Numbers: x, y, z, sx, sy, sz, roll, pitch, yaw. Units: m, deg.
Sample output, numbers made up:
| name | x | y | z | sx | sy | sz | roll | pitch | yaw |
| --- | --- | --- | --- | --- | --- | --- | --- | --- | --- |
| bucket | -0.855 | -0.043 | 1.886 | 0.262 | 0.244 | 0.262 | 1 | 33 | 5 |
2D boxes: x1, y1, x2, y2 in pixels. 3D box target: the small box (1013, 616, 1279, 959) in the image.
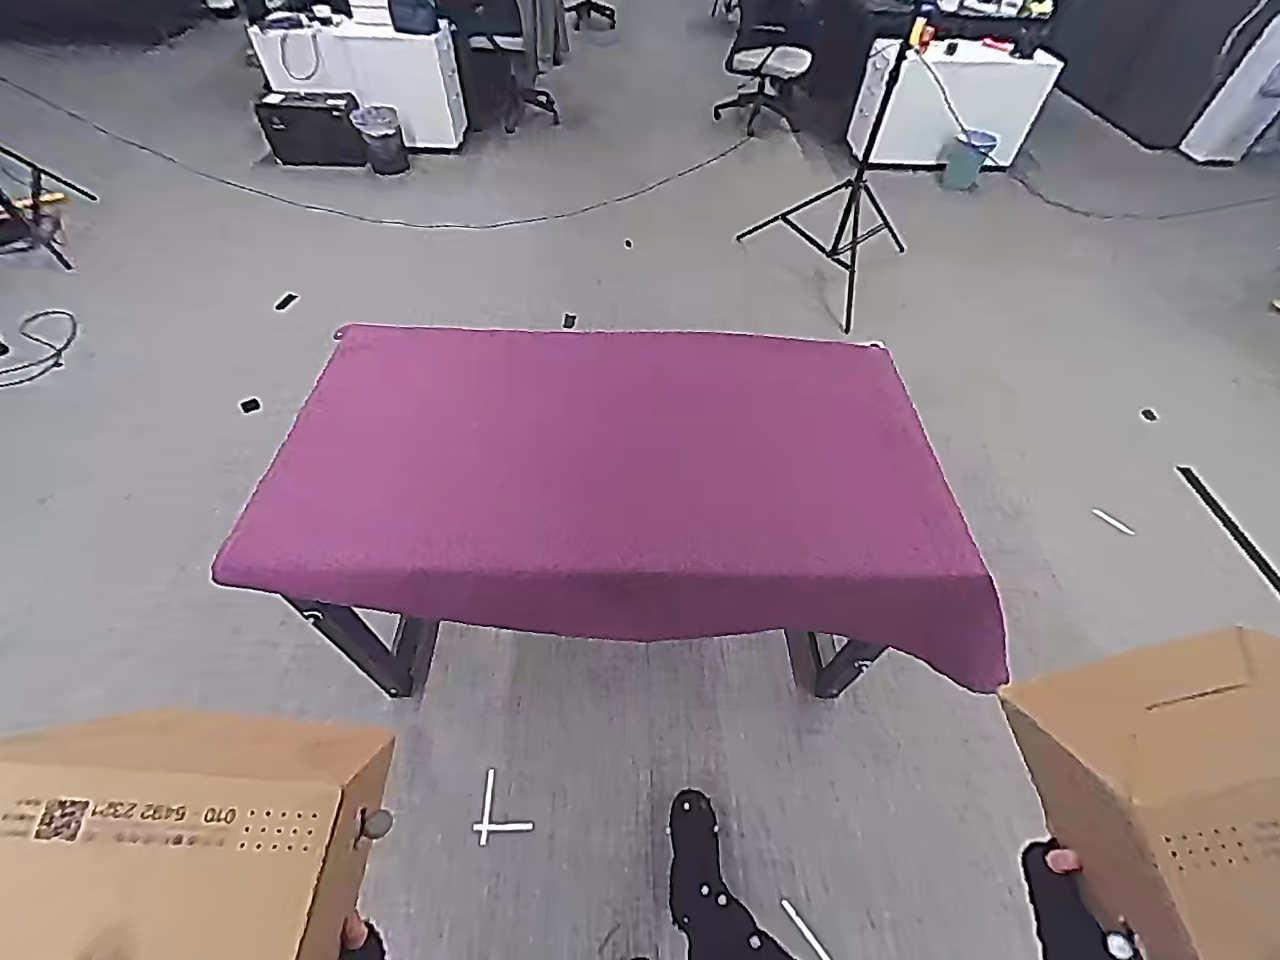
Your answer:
| name | x | y | z | sx | sy | sz | roll | pitch | yaw |
| --- | --- | --- | --- | --- | --- | --- | --- | --- | --- |
| small box | 0.347 | 0.189 | 0.296 | 0.168 | 0.179 | 0.176 | -20 | 82 | 13 |
